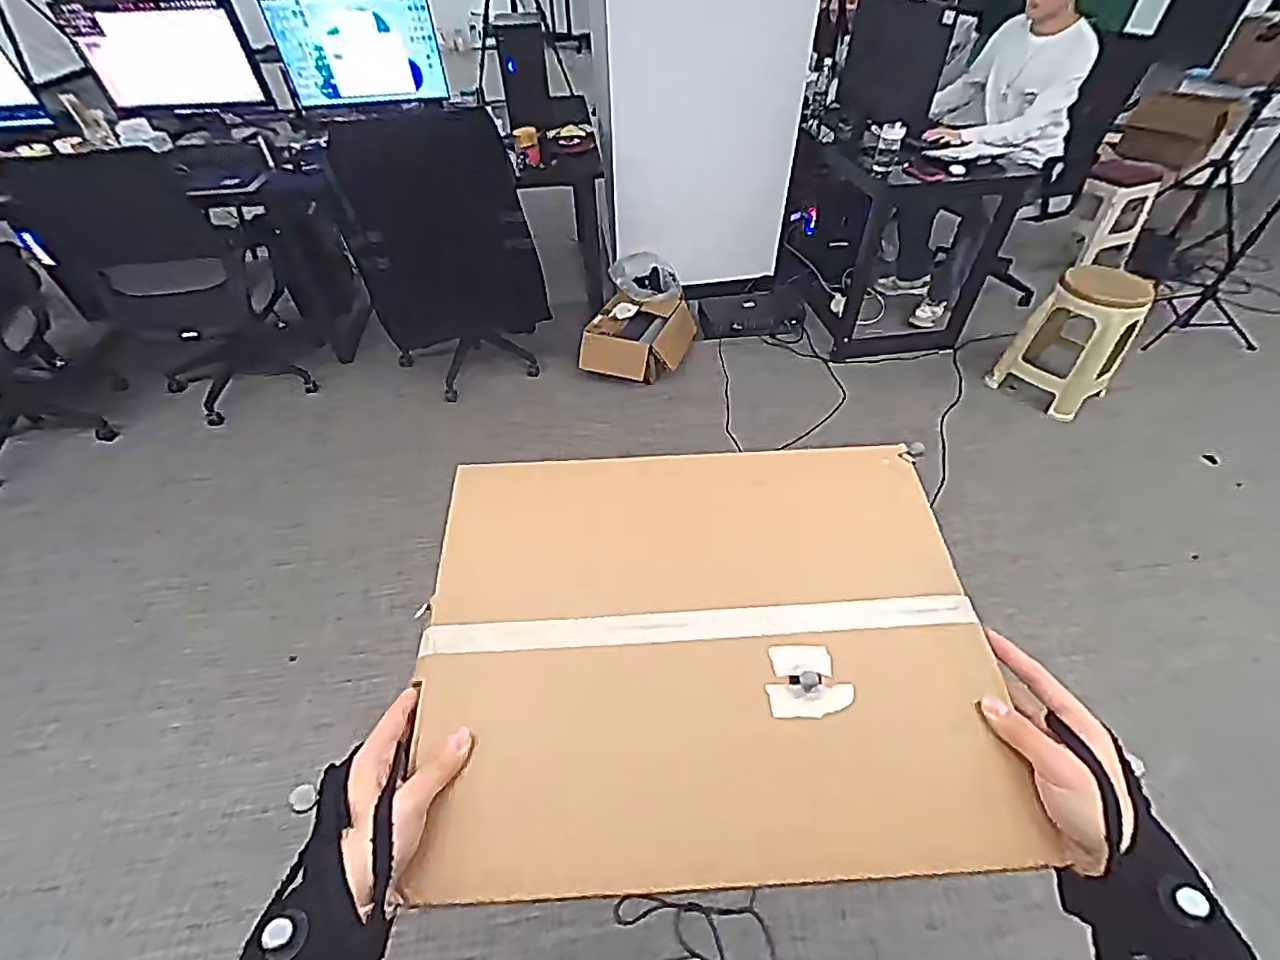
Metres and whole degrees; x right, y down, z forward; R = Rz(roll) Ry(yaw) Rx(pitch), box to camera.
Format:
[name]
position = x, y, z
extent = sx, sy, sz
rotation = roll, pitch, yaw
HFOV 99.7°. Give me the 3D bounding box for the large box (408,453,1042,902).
[large box]
position = 0.046, 0.195, 0.535
extent = 0.408, 0.320, 0.320
rotation = -3, 57, -1
